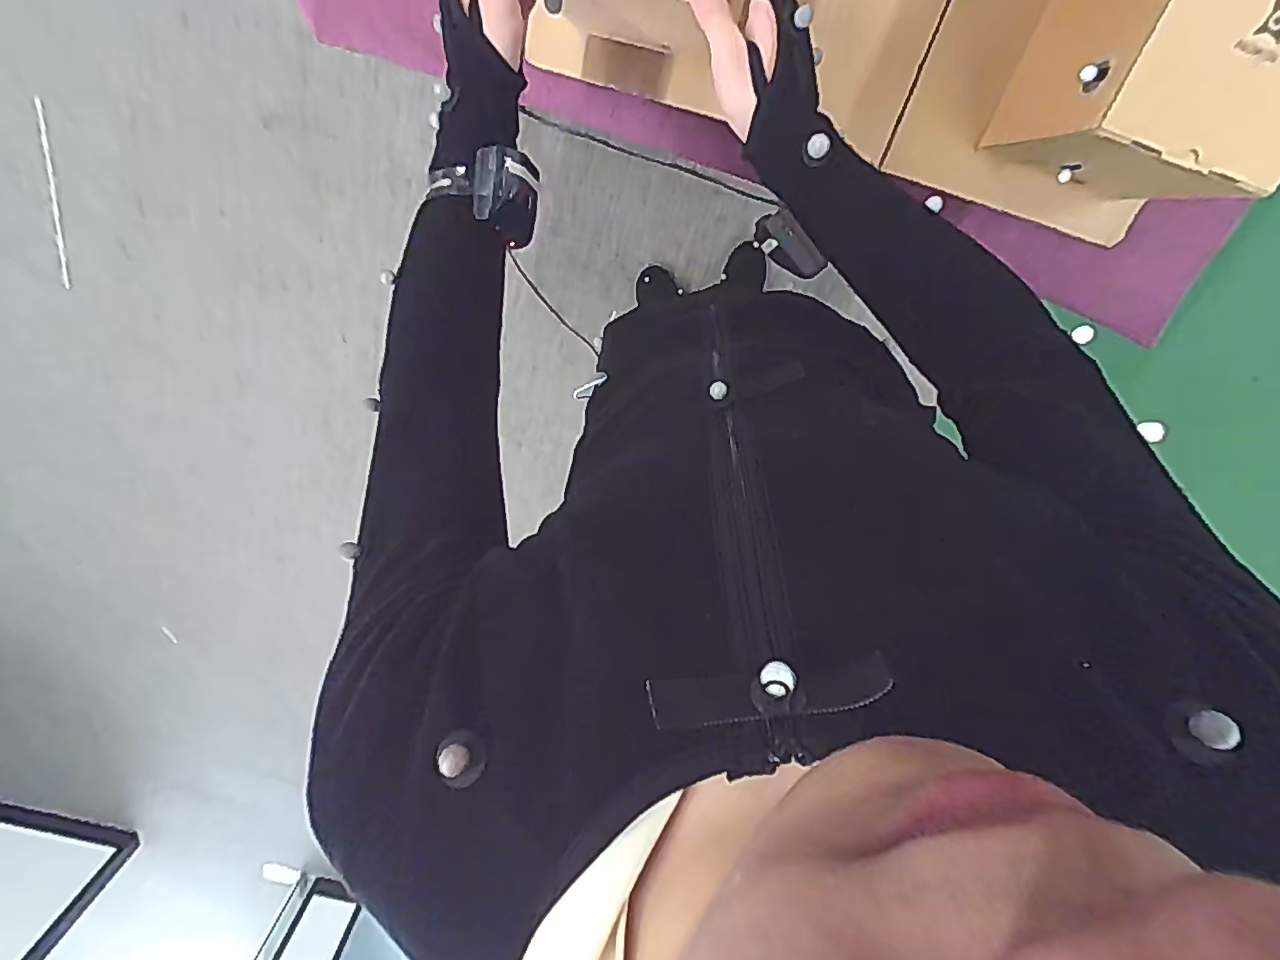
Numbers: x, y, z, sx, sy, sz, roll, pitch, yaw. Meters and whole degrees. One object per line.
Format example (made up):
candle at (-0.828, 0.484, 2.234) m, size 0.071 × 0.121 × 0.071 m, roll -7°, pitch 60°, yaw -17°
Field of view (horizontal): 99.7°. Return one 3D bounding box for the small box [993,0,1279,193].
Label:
small box at (0.445, -0.357, 0.449) m, size 0.168 × 0.176 × 0.179 m, roll 13°, pitch 117°, yaw -7°
